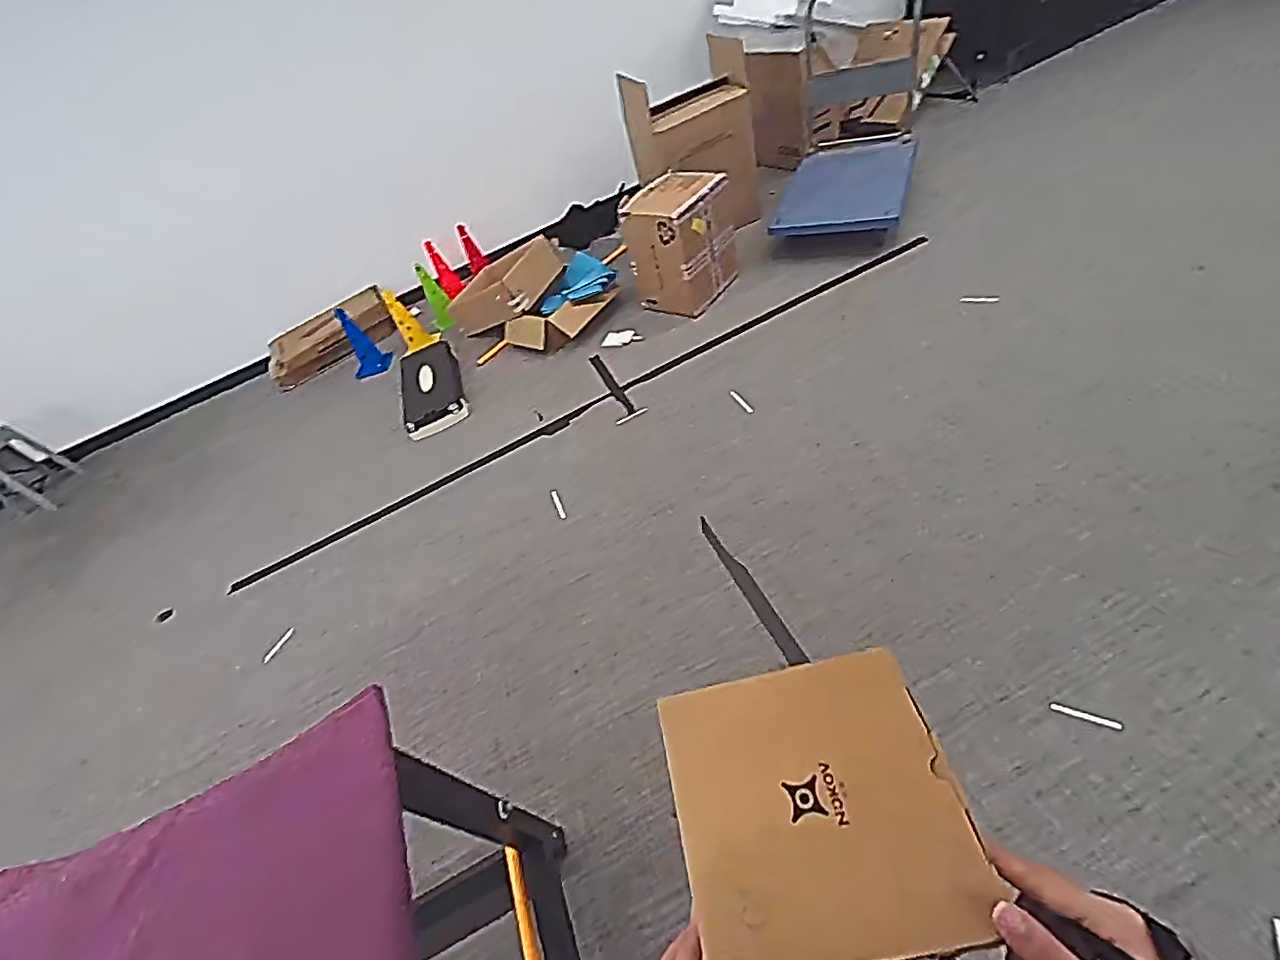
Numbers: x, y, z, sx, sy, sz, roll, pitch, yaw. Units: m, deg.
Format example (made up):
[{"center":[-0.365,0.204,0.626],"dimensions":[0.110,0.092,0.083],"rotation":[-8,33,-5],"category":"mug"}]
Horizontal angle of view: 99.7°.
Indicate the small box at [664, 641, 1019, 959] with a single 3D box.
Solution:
[{"center":[0.128,0.247,0.408],"dimensions":[0.179,0.176,0.168],"rotation":[-14,50,3],"category":"small box"}]
